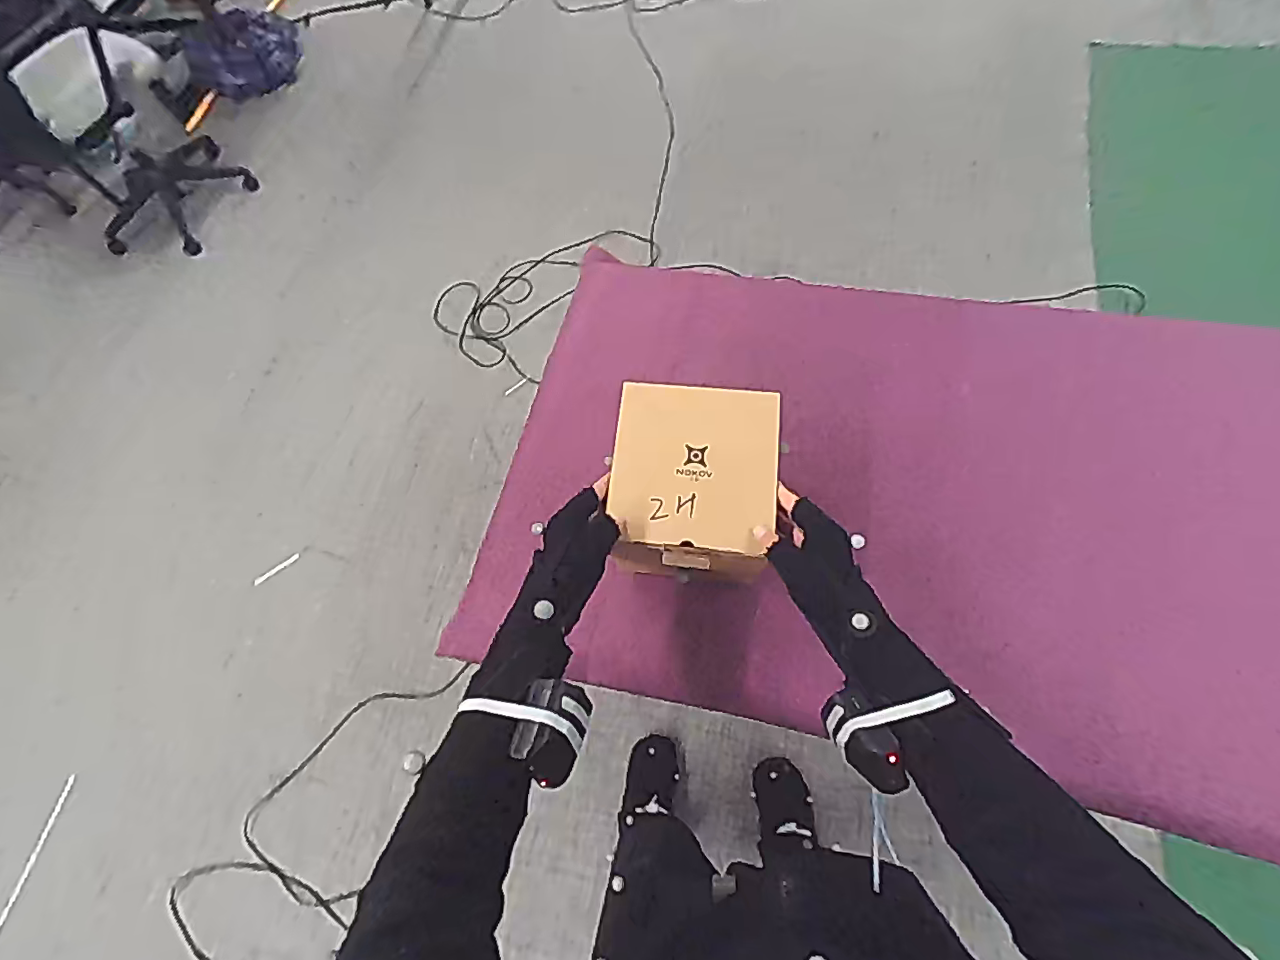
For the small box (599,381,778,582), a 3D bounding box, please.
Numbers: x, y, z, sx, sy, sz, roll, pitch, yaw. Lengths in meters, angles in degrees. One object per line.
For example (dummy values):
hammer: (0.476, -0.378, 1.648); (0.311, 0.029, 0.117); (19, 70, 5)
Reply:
small box: (0.057, 0.010, 0.620); (0.168, 0.176, 0.179); (6, 72, 7)
